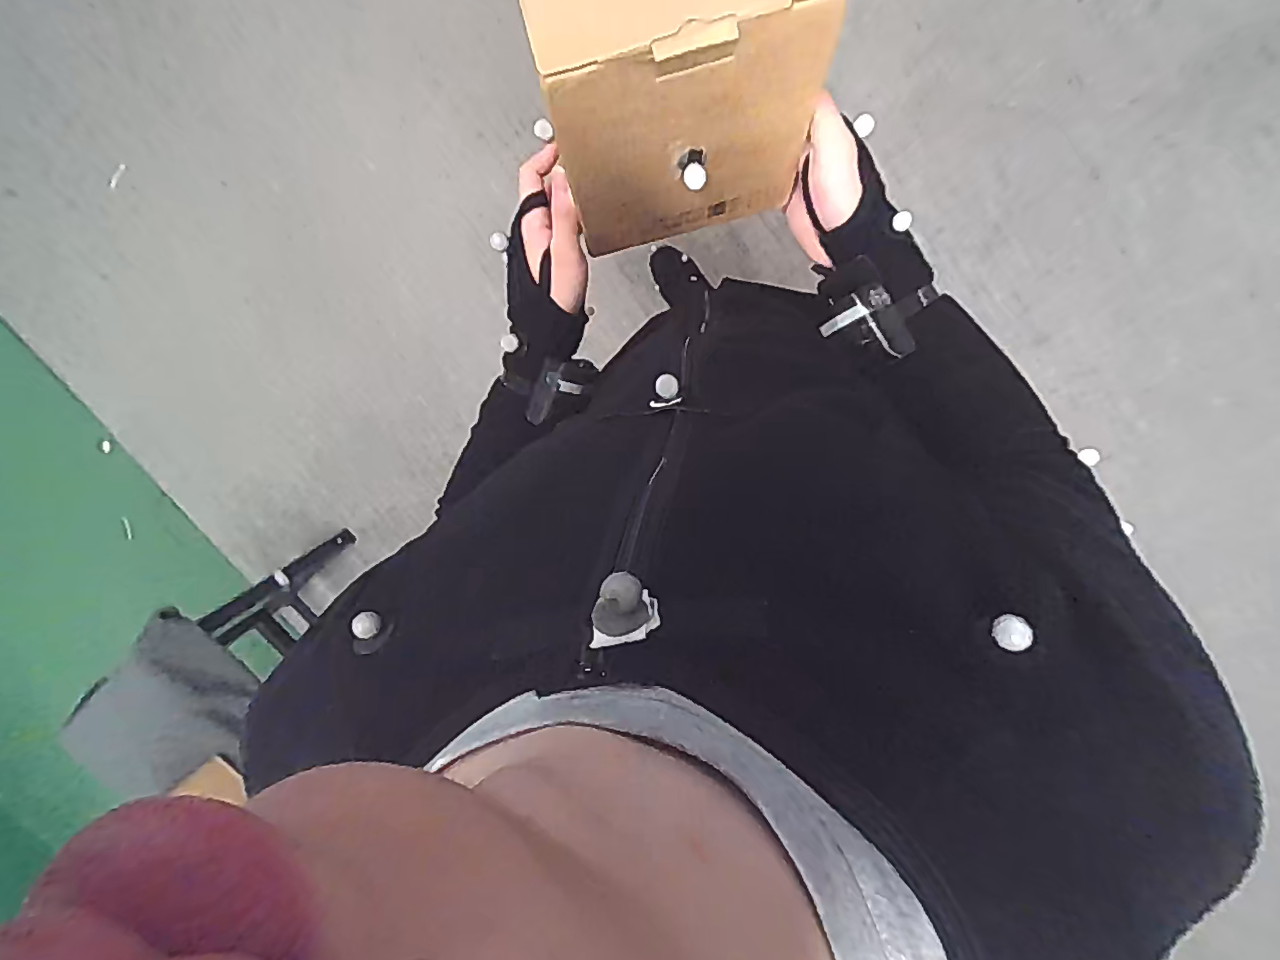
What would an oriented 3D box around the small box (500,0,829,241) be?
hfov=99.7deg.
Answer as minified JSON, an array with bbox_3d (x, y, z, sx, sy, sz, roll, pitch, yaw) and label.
[{"bbox_3d":[0.006,-0.288,0.363,0.168,0.176,0.179,-14,81,2],"label":"small box"}]
